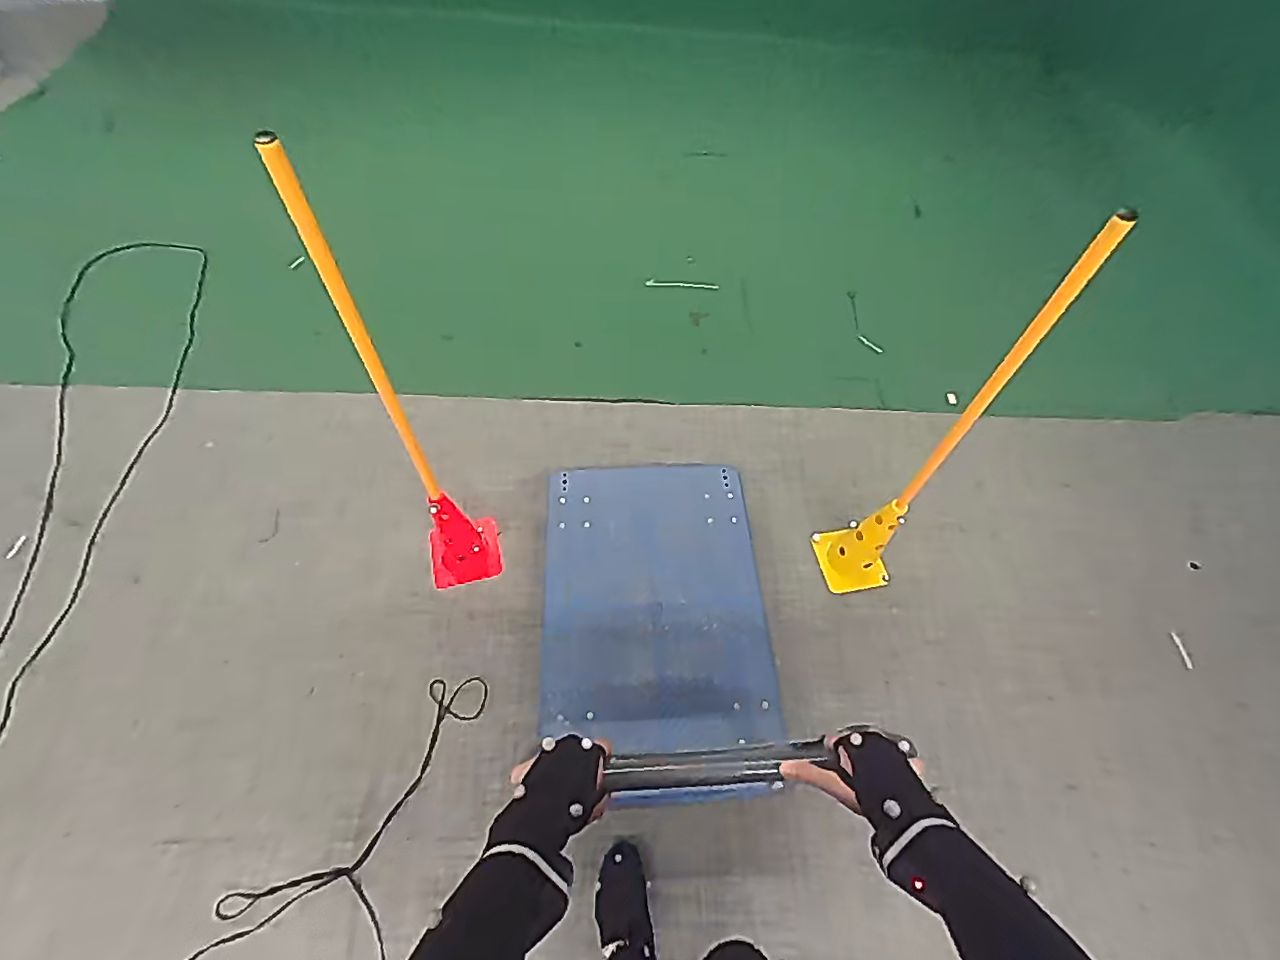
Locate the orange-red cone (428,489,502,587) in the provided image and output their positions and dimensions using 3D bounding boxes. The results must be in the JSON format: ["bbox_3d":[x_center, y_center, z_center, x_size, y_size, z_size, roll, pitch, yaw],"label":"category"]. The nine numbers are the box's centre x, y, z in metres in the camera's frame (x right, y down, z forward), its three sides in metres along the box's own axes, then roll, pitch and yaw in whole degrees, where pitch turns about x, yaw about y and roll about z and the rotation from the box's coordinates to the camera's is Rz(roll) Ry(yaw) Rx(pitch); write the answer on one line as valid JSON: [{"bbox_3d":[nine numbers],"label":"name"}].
[{"bbox_3d":[-0.515,0.130,1.481,0.199,0.360,0.198,-12,60,-9],"label":"orange-red cone"}]
